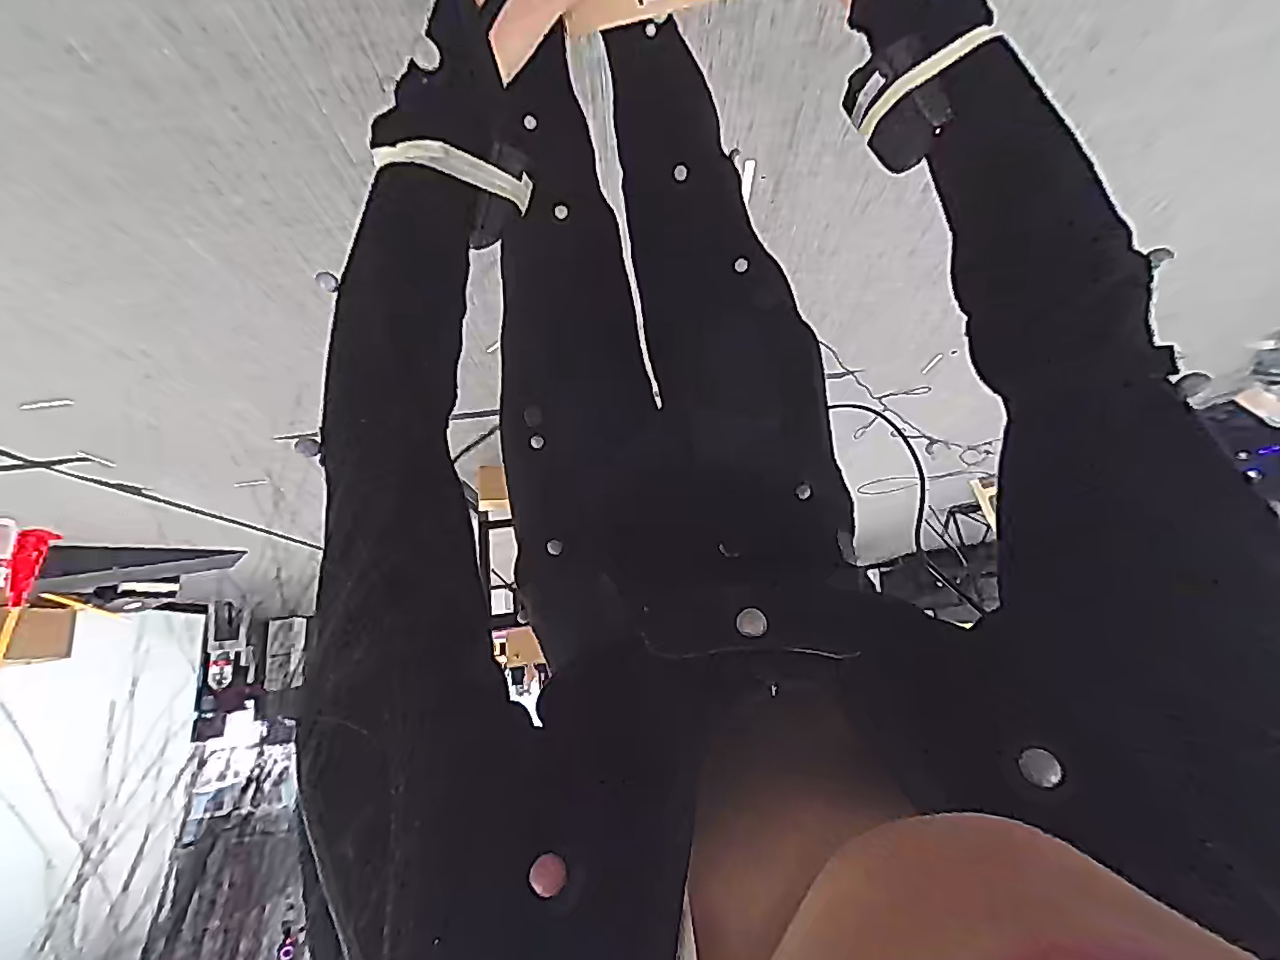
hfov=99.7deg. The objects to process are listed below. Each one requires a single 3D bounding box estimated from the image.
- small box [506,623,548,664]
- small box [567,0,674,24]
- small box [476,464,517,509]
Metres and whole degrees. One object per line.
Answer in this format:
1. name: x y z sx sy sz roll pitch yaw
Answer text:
1. small box: -0.548 0.791 2.612 0.179 0.176 0.168 -7 164 -4
2. small box: 0.009 -0.412 0.295 0.168 0.176 0.179 -13 157 2
3. small box: -0.691 0.030 2.586 0.179 0.176 0.168 -3 162 -18
